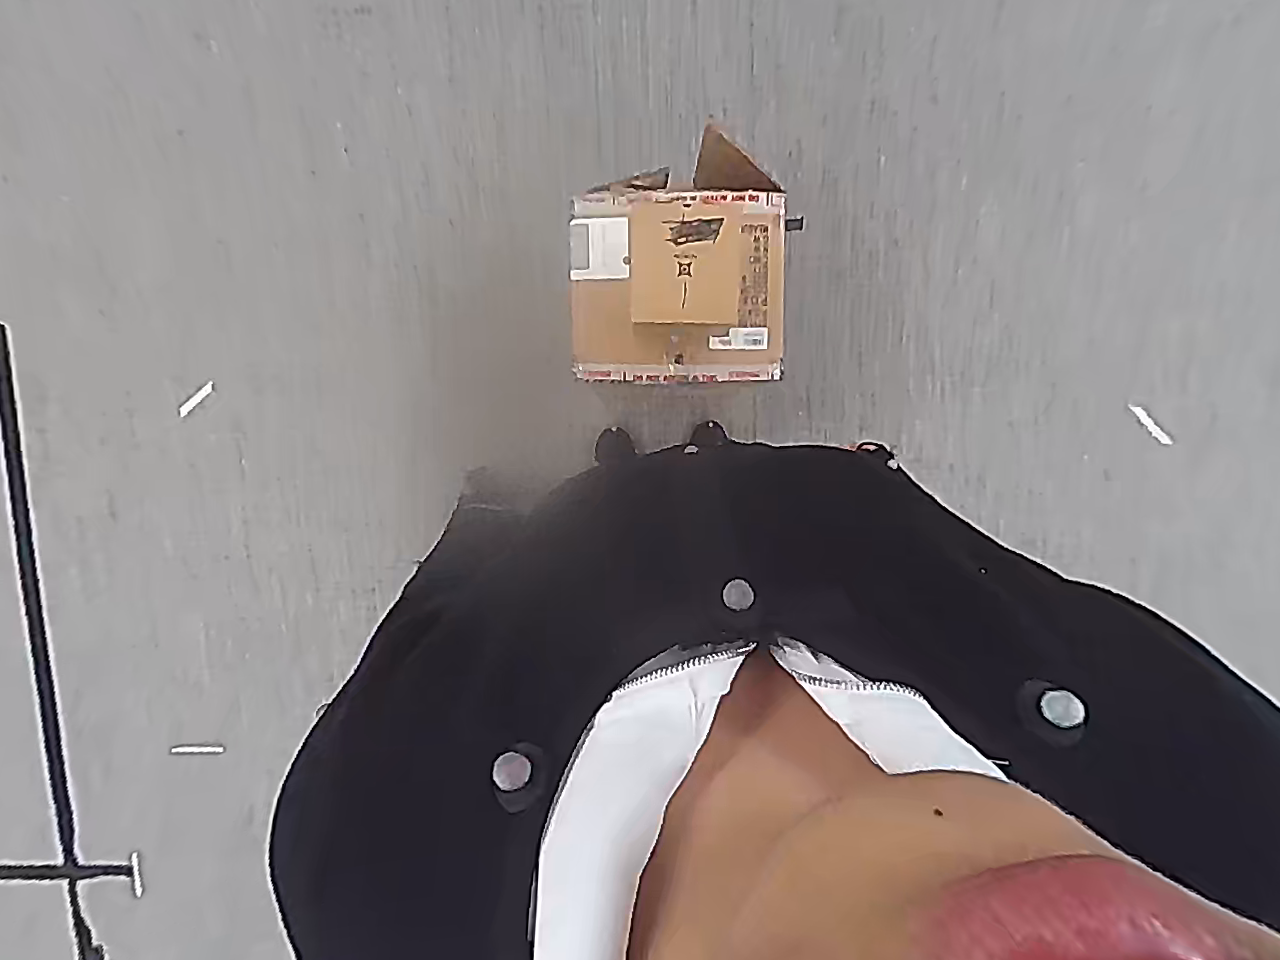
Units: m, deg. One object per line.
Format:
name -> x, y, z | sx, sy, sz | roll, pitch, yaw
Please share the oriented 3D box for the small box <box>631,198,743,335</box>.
small box -> 0.069, -0.341, 0.891 | 0.168, 0.176, 0.179 | 1, 99, 0
